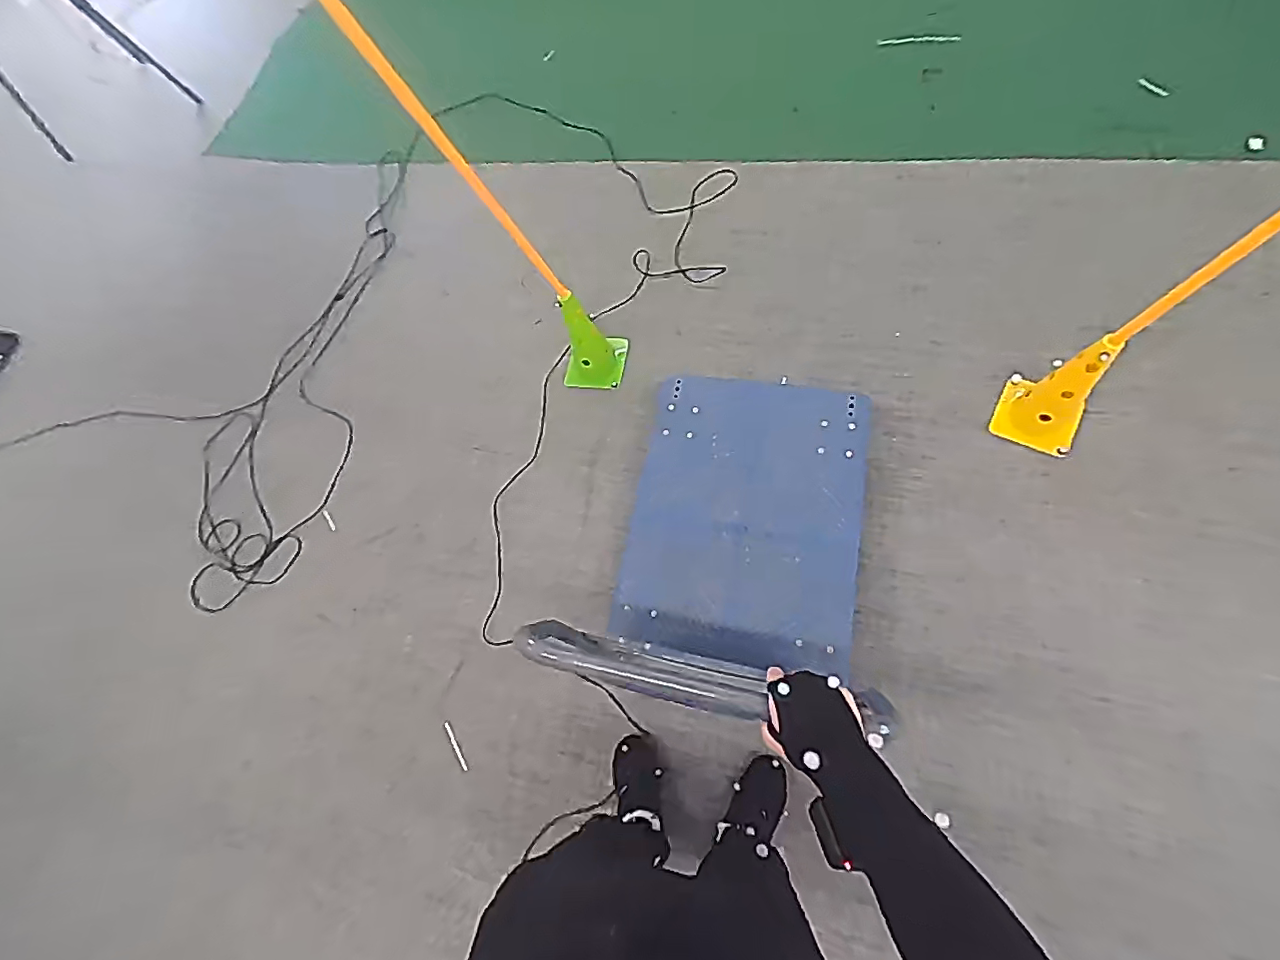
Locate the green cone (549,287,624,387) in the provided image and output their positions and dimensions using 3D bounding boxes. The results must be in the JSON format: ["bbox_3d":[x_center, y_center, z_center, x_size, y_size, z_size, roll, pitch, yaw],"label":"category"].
[{"bbox_3d":[-0.197,-0.471,1.695,0.202,0.368,0.200,4,69,15],"label":"green cone"}]
